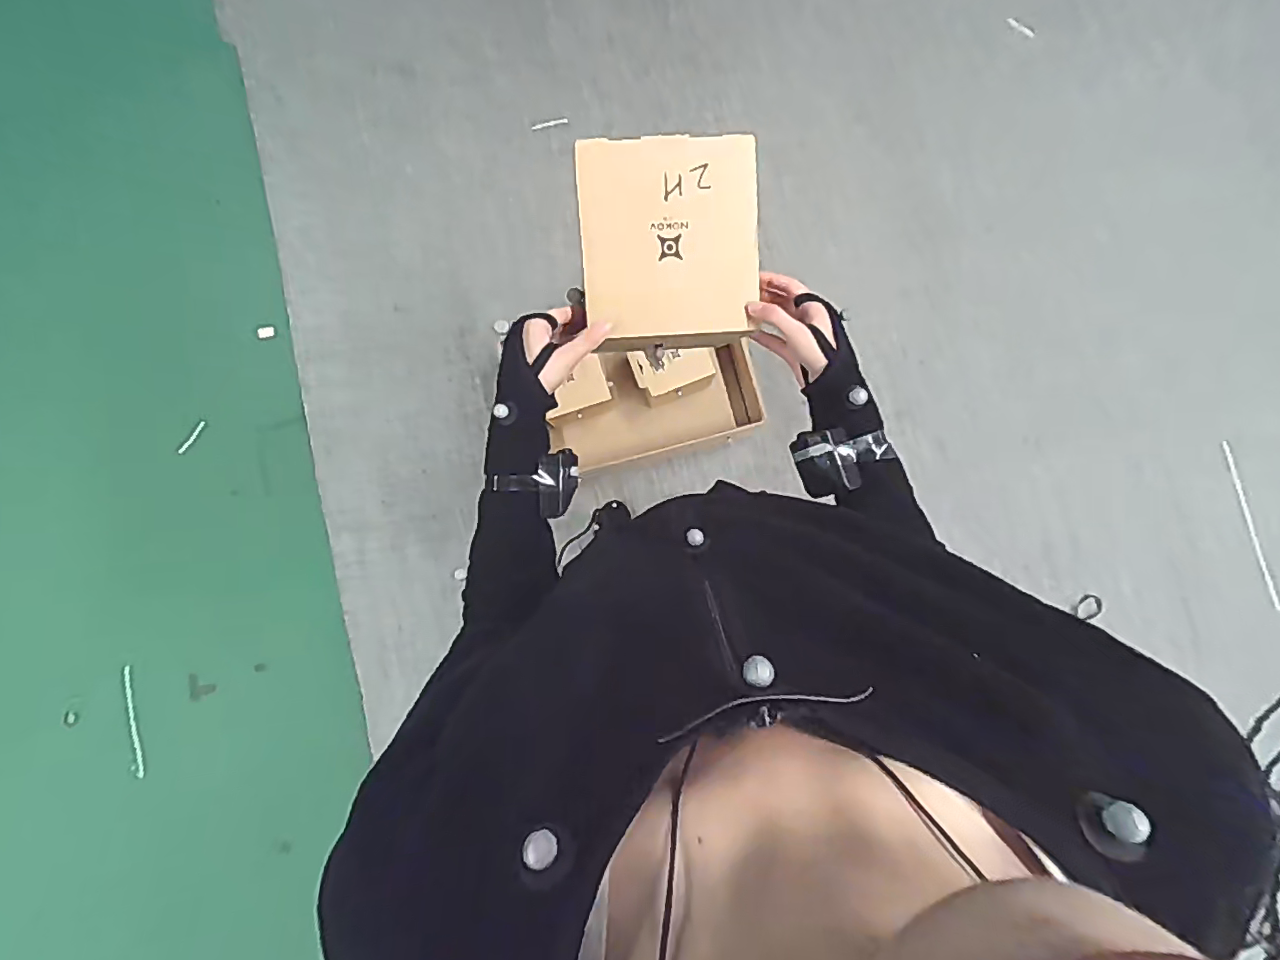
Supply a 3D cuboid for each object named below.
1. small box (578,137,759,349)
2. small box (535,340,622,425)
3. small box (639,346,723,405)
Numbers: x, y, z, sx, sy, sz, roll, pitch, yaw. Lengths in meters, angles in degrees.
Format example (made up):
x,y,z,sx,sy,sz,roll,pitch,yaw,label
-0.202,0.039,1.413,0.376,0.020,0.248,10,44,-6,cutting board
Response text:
x,y,z,sx,sy,sz,roll,pitch,yaw,label
0.024,-0.235,0.578,0.168,0.176,0.179,-3,99,-4,small box
-0.156,-0.252,1.429,0.179,0.176,0.168,-18,88,0,small box
0.103,-0.310,1.421,0.179,0.176,0.168,-21,87,1,small box
